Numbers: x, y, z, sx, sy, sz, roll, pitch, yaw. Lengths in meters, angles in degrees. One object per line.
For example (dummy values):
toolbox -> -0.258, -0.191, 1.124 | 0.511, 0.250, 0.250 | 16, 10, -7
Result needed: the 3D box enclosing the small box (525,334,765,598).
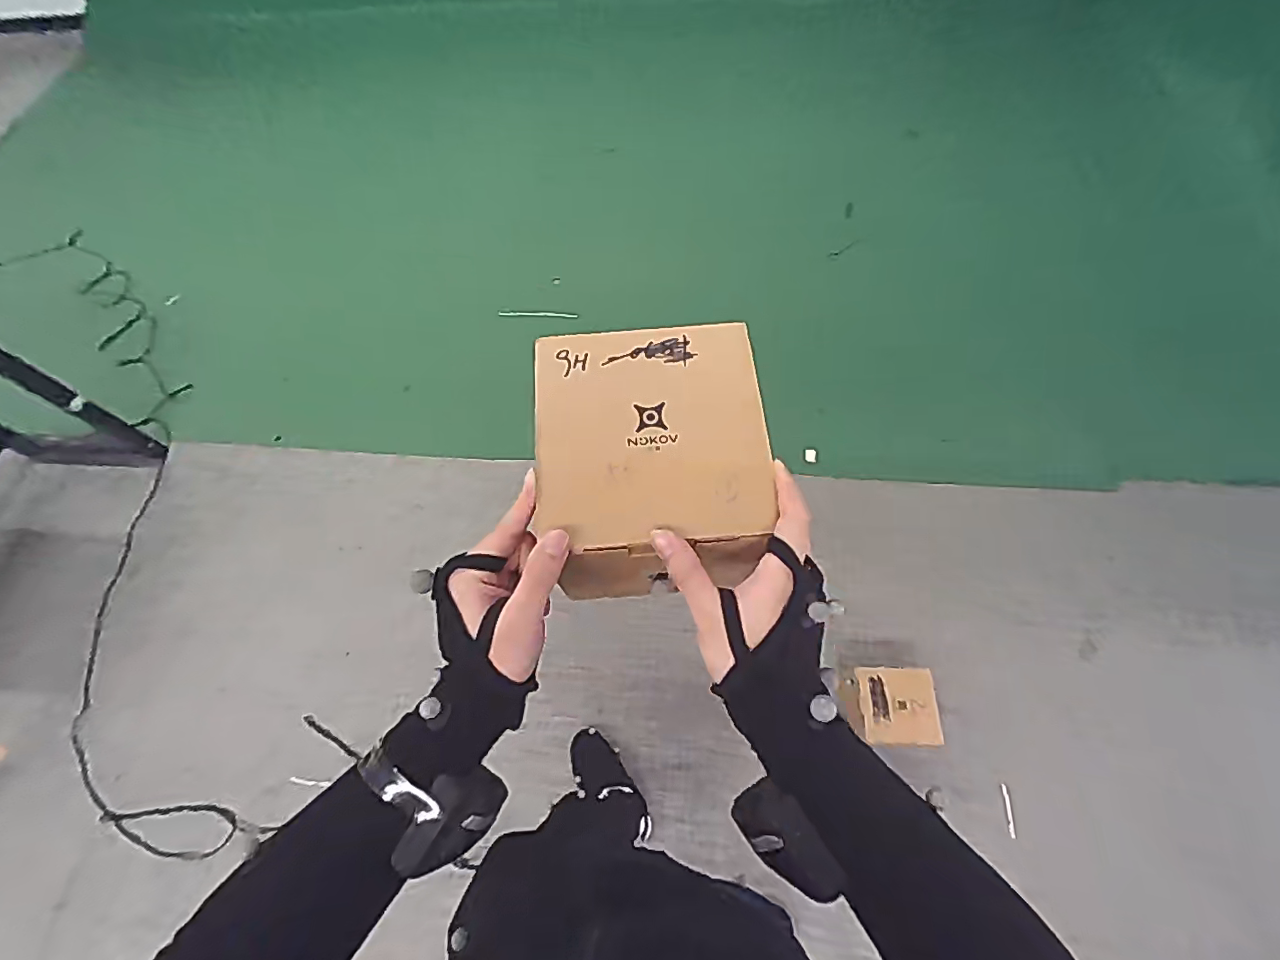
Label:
small box -> 0.000, 0.002, 0.465 | 0.168, 0.176, 0.179 | -5, 68, -1
